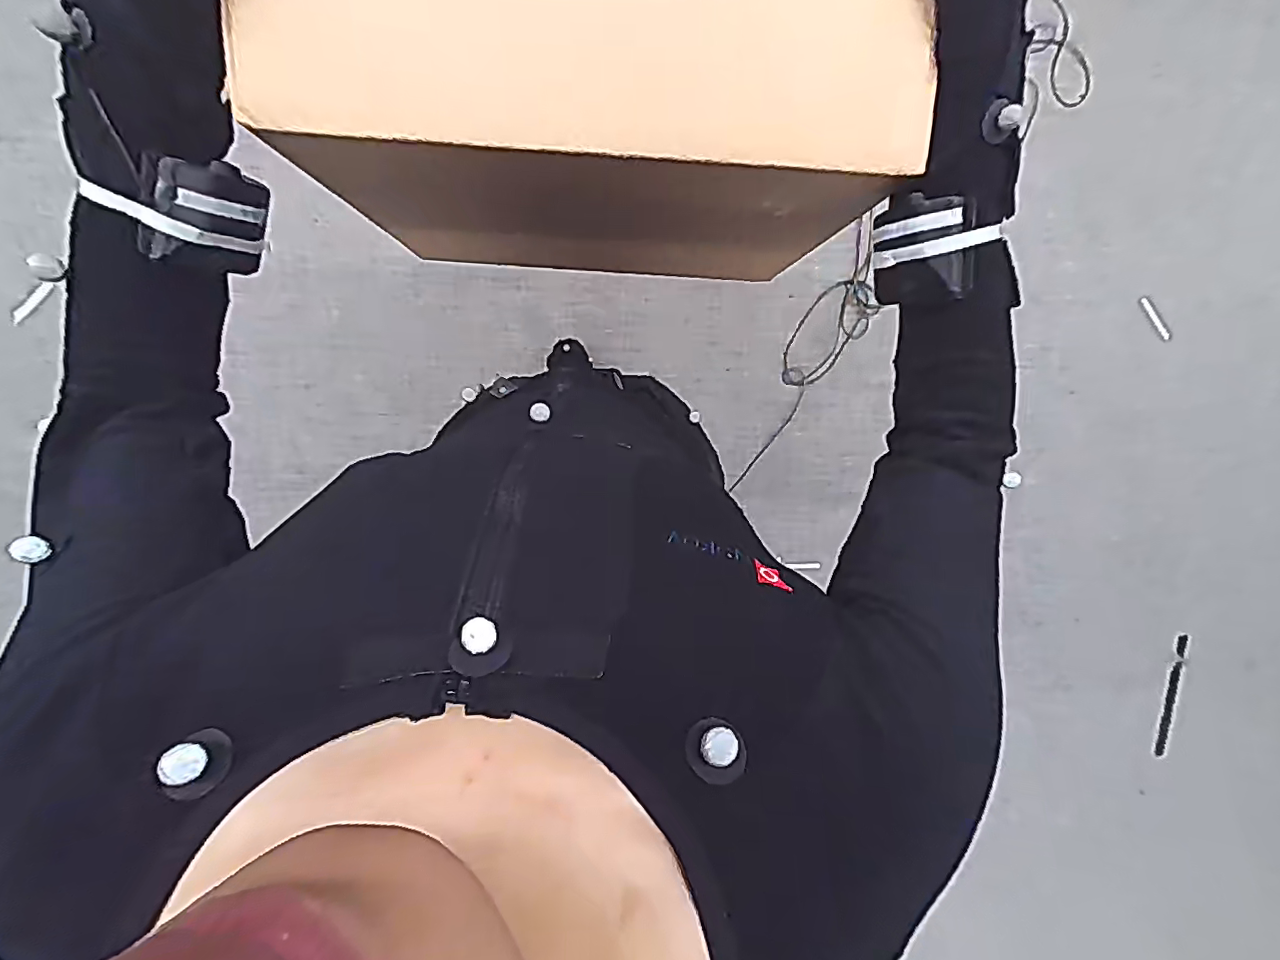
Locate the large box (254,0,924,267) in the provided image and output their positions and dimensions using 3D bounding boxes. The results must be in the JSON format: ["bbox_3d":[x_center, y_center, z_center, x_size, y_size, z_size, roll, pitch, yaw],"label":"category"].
[{"bbox_3d":[-0.032,-0.382,0.457,0.408,0.320,0.320,1,99,-5],"label":"large box"}]
